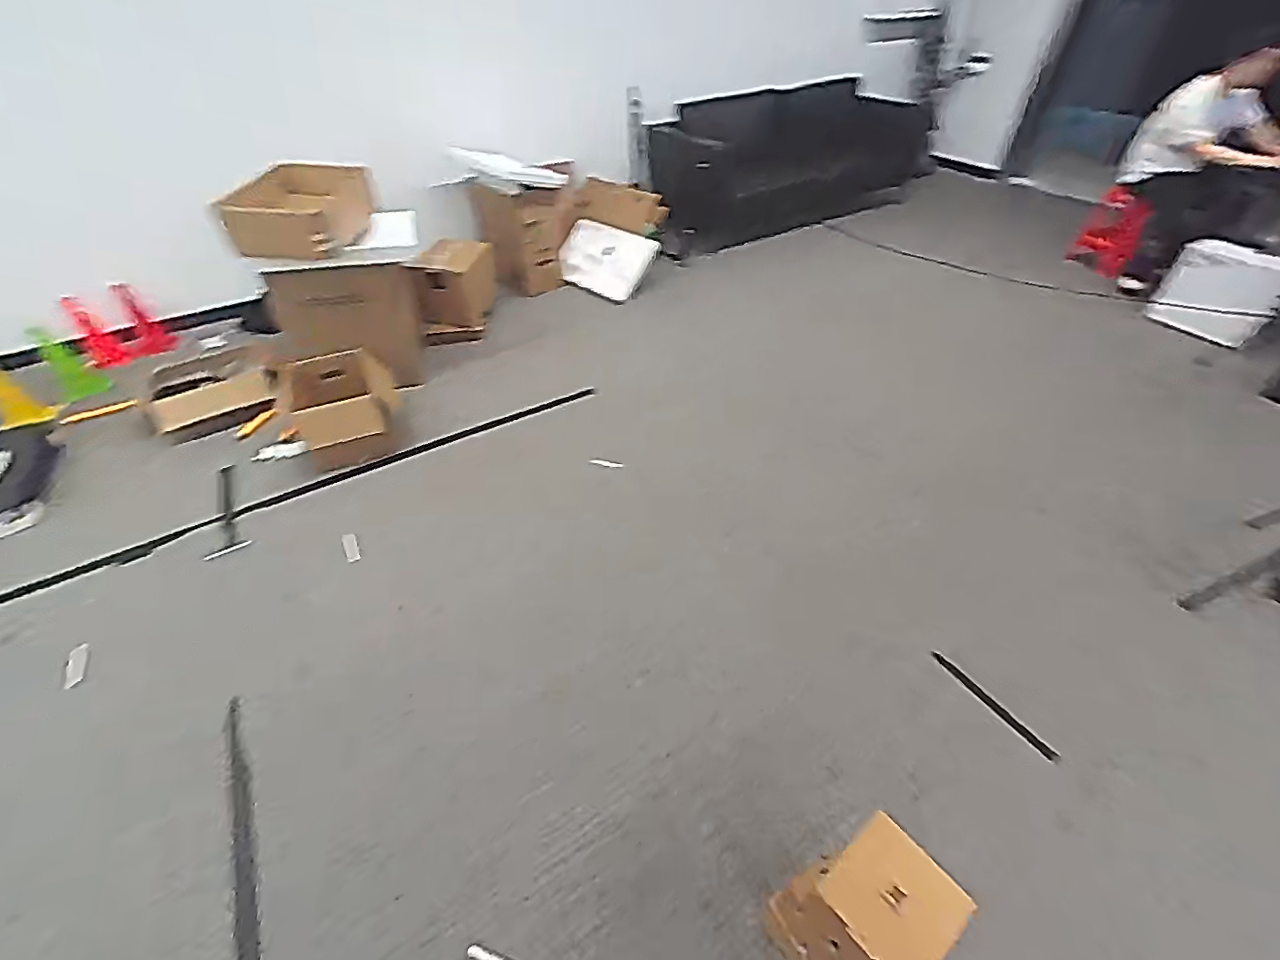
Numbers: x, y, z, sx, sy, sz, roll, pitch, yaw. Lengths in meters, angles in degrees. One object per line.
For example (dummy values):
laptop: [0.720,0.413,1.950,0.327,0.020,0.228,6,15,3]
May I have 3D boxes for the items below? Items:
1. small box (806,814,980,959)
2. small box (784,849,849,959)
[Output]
small box: [0.390,0.687,0.863,0.179,0.176,0.168,-30,50,-26]
small box: [0.385,0.799,0.981,0.179,0.176,0.168,-20,45,-19]
